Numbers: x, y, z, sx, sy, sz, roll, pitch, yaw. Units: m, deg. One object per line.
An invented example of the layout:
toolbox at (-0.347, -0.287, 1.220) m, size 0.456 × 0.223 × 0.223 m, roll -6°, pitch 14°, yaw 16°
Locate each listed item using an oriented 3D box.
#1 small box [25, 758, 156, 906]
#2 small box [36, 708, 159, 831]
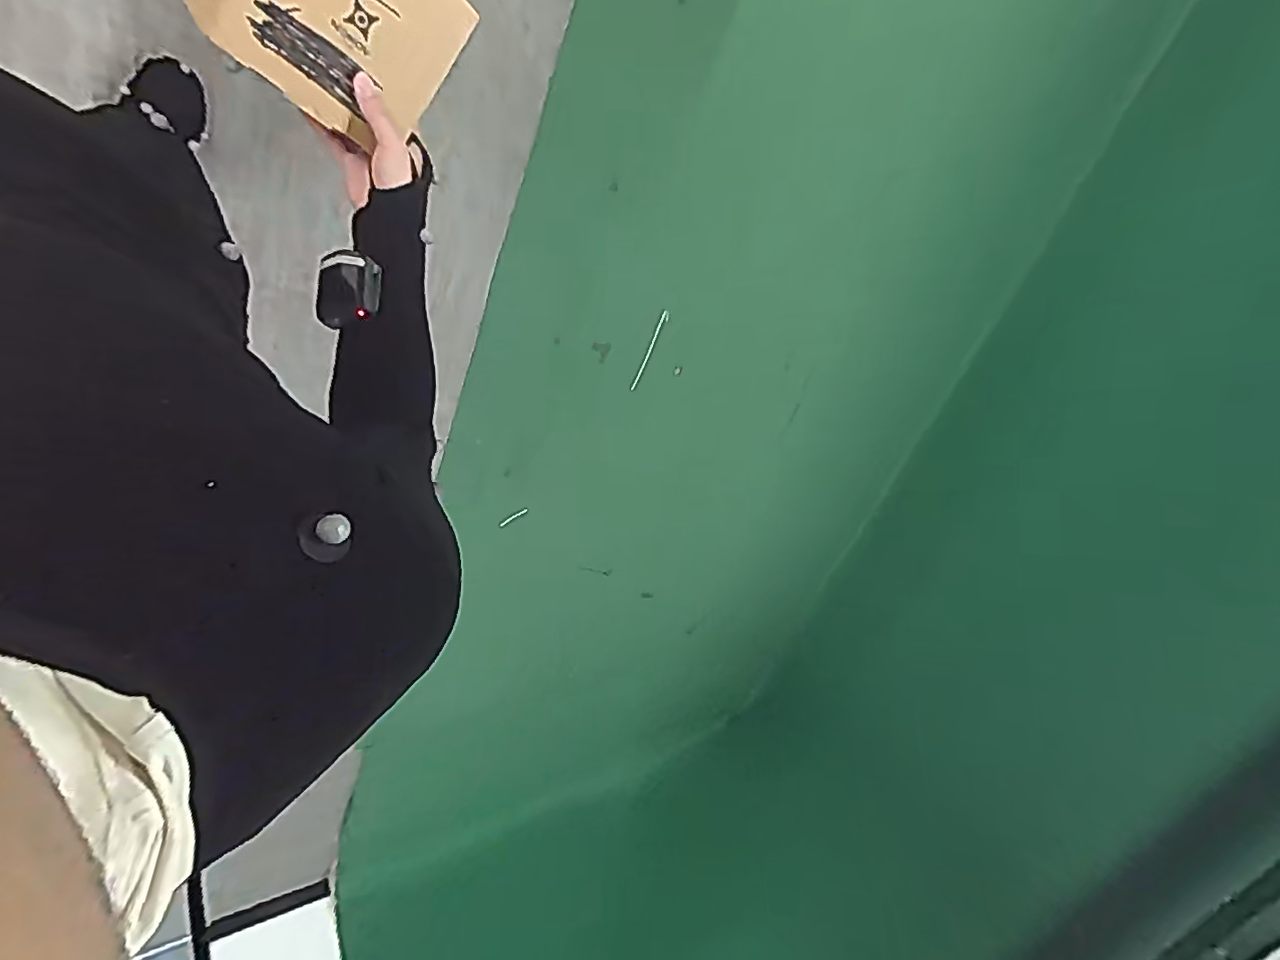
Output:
small box at (-1.131, 0.720, 1.125) m, size 0.168 × 0.176 × 0.179 m, roll 10°, pitch 113°, yaw -43°
small box at (-1.227, 0.647, 1.233) m, size 0.179 × 0.176 × 0.168 m, roll 11°, pitch 113°, yaw -44°
